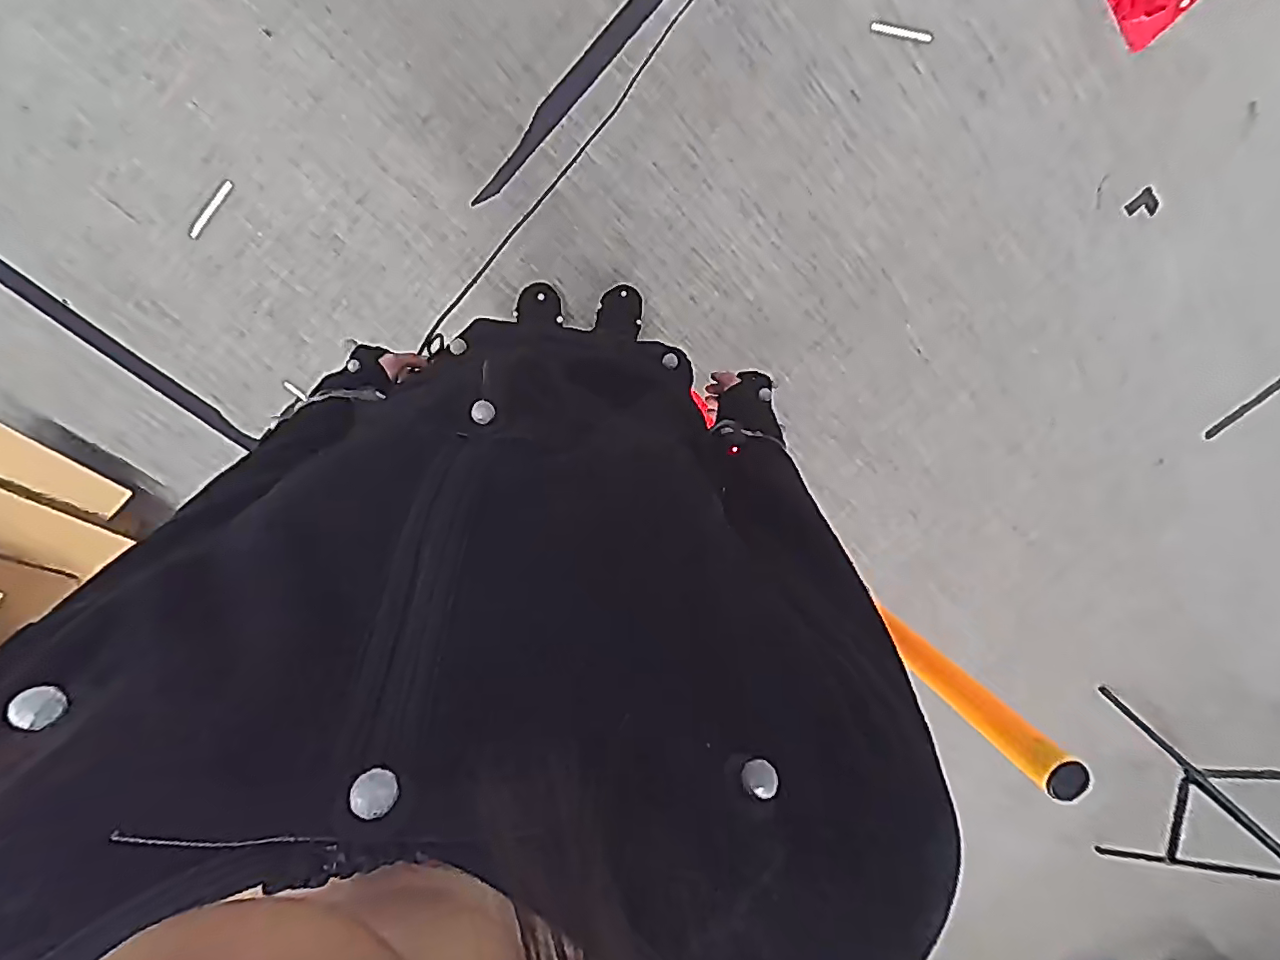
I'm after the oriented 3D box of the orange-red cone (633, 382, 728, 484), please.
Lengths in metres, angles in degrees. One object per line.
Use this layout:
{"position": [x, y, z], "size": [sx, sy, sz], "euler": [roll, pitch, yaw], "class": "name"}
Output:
{"position": [0.119, -0.070, 1.262], "size": [0.199, 0.360, 0.198], "euler": [-40, 109, 11], "class": "orange-red cone"}
